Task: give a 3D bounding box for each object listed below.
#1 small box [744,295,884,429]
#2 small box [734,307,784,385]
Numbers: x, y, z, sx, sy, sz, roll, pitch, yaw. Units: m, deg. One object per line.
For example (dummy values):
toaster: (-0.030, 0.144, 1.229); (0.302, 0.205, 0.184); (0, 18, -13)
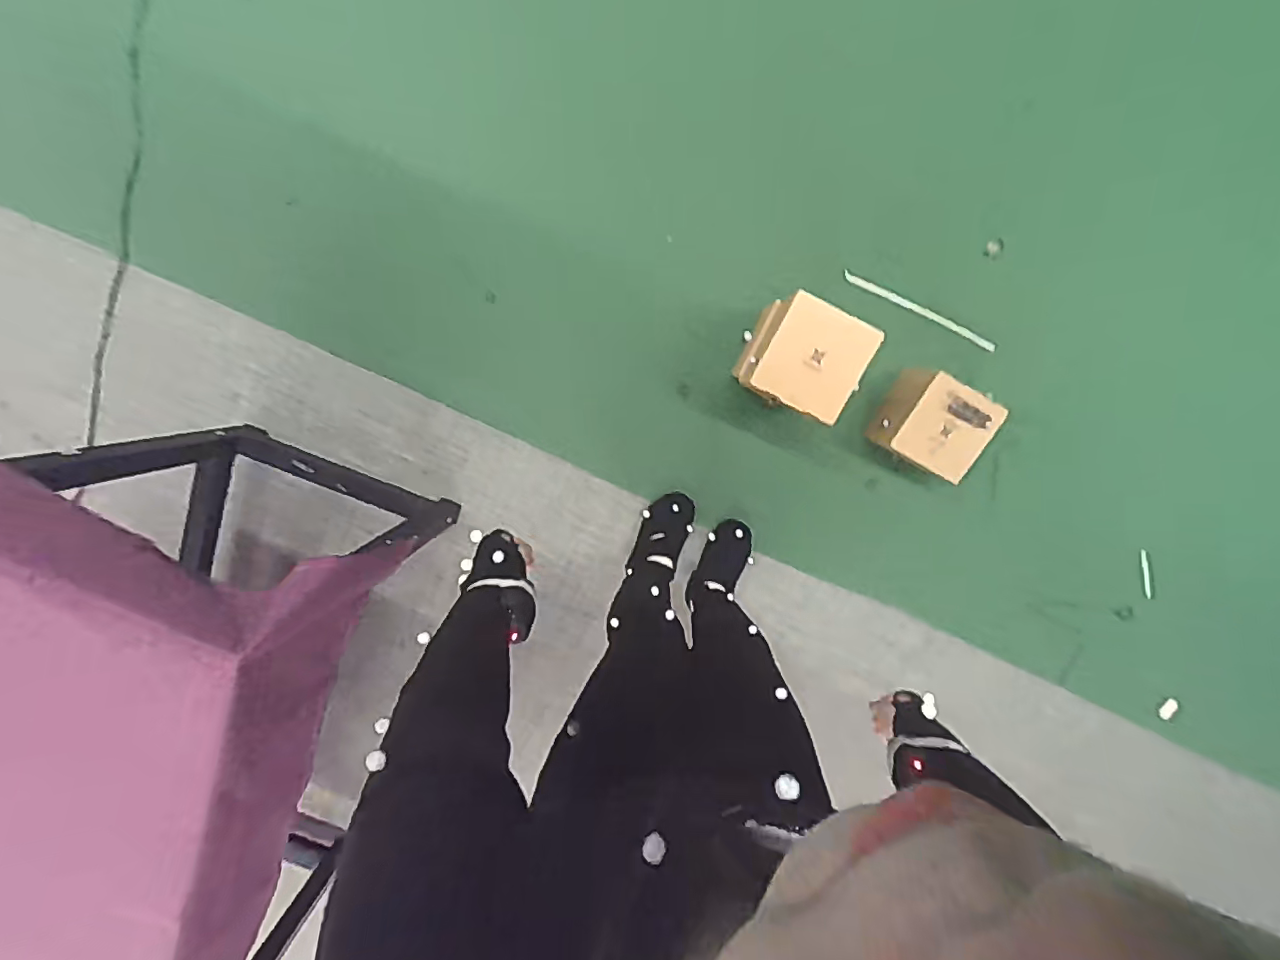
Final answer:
small box: (0.306, -0.215, 0.998); (0.168, 0.176, 0.179); (27, 103, -1)
small box: (0.319, -0.250, 1.157); (0.179, 0.176, 0.168); (27, 102, 0)
